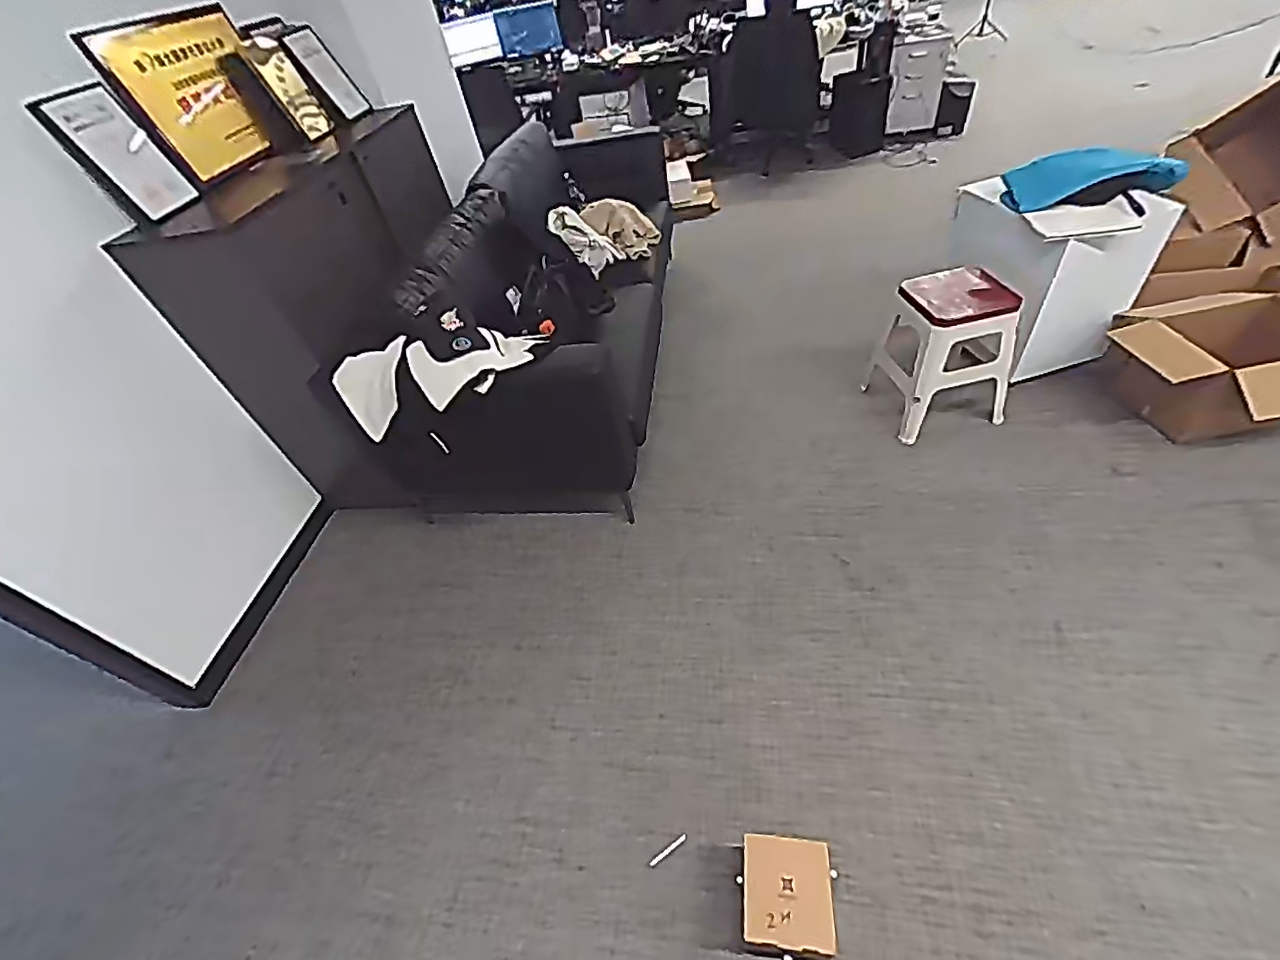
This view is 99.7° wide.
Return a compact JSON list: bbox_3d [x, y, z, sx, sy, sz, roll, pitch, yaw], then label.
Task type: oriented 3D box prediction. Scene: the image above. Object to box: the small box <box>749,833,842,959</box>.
[{"bbox_3d":[0.305,0.840,1.090,0.168,0.176,0.179,-1,47,12],"label":"small box"}]
